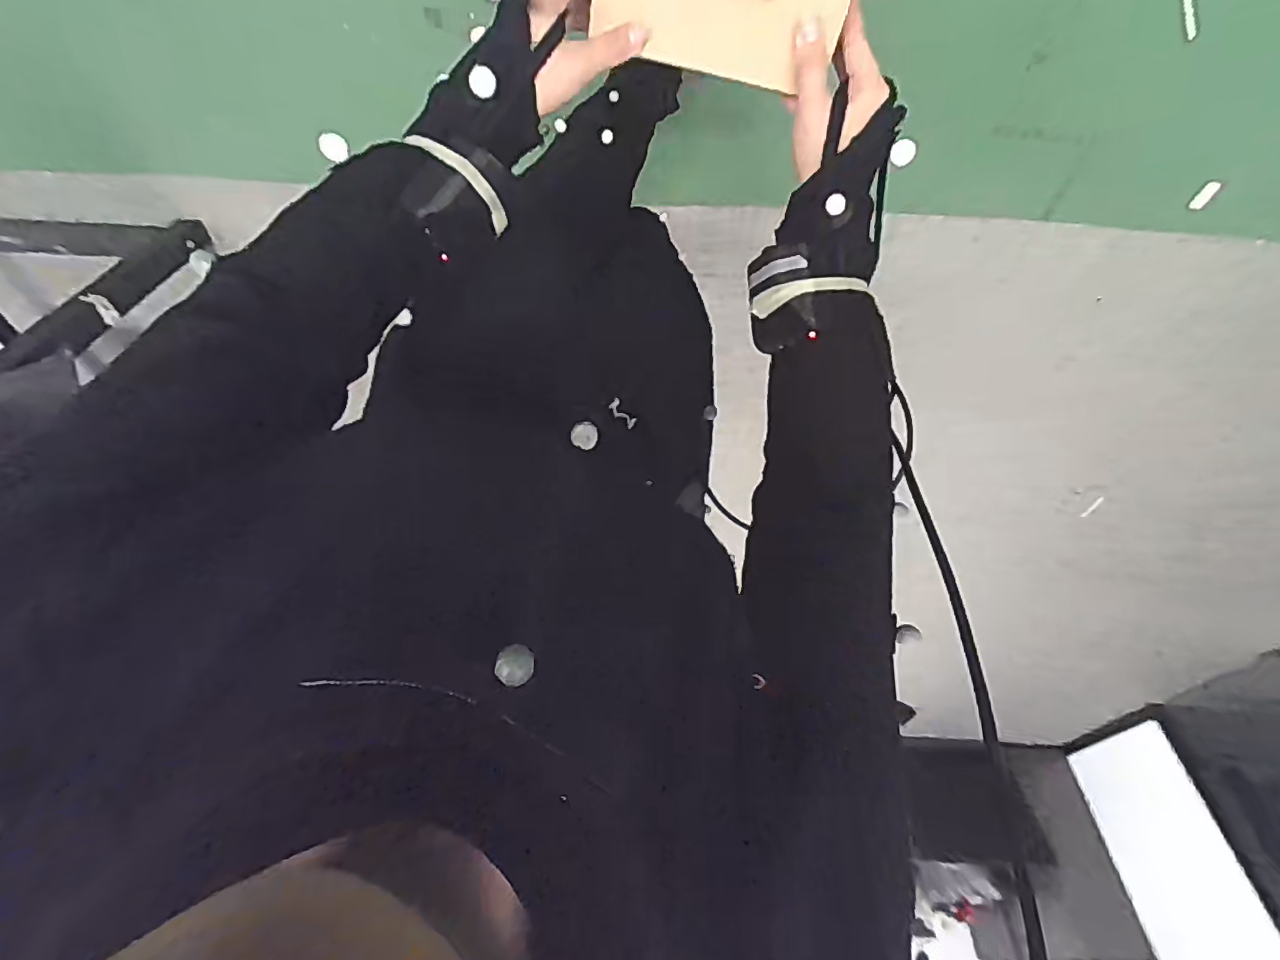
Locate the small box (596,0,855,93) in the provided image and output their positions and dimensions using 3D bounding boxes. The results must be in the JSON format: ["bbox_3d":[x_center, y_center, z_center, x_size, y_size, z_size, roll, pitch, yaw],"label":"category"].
[{"bbox_3d":[0.076,-0.399,0.375,0.168,0.176,0.179,14,132,1],"label":"small box"}]
